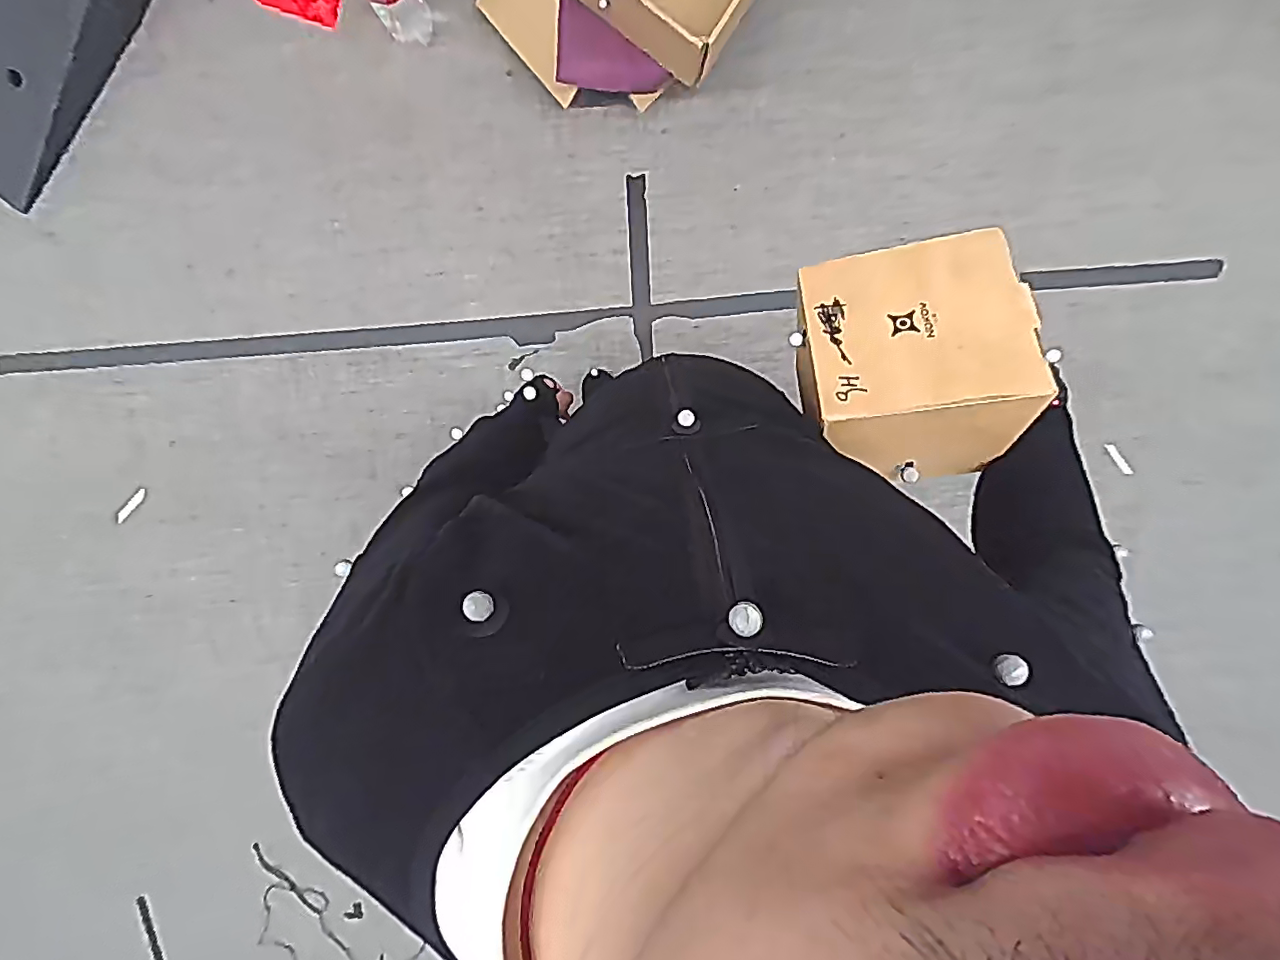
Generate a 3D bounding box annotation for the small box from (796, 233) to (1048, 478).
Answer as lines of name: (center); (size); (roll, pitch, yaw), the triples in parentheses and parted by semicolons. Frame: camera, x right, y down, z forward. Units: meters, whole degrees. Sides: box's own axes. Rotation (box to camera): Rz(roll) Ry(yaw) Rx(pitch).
small box: (0.259, -0.111, 0.549); (0.179, 0.176, 0.168); (-6, 68, 12)
